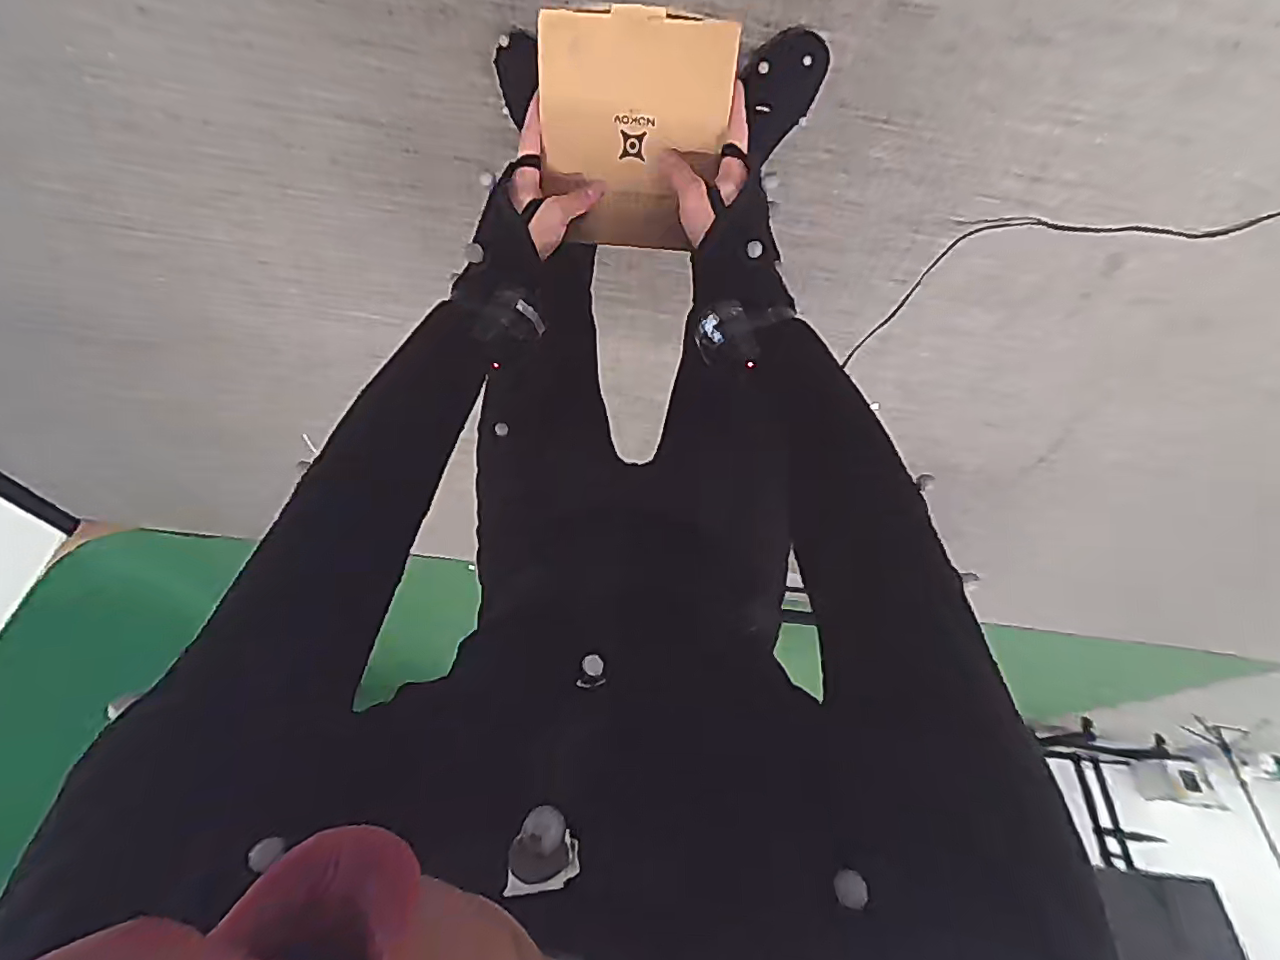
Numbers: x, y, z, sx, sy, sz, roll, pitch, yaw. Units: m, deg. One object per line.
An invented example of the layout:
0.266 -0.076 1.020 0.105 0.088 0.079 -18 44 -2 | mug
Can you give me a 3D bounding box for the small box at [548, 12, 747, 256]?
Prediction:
0.005 -0.339 0.548 0.168 0.176 0.179 5 123 2 | small box
